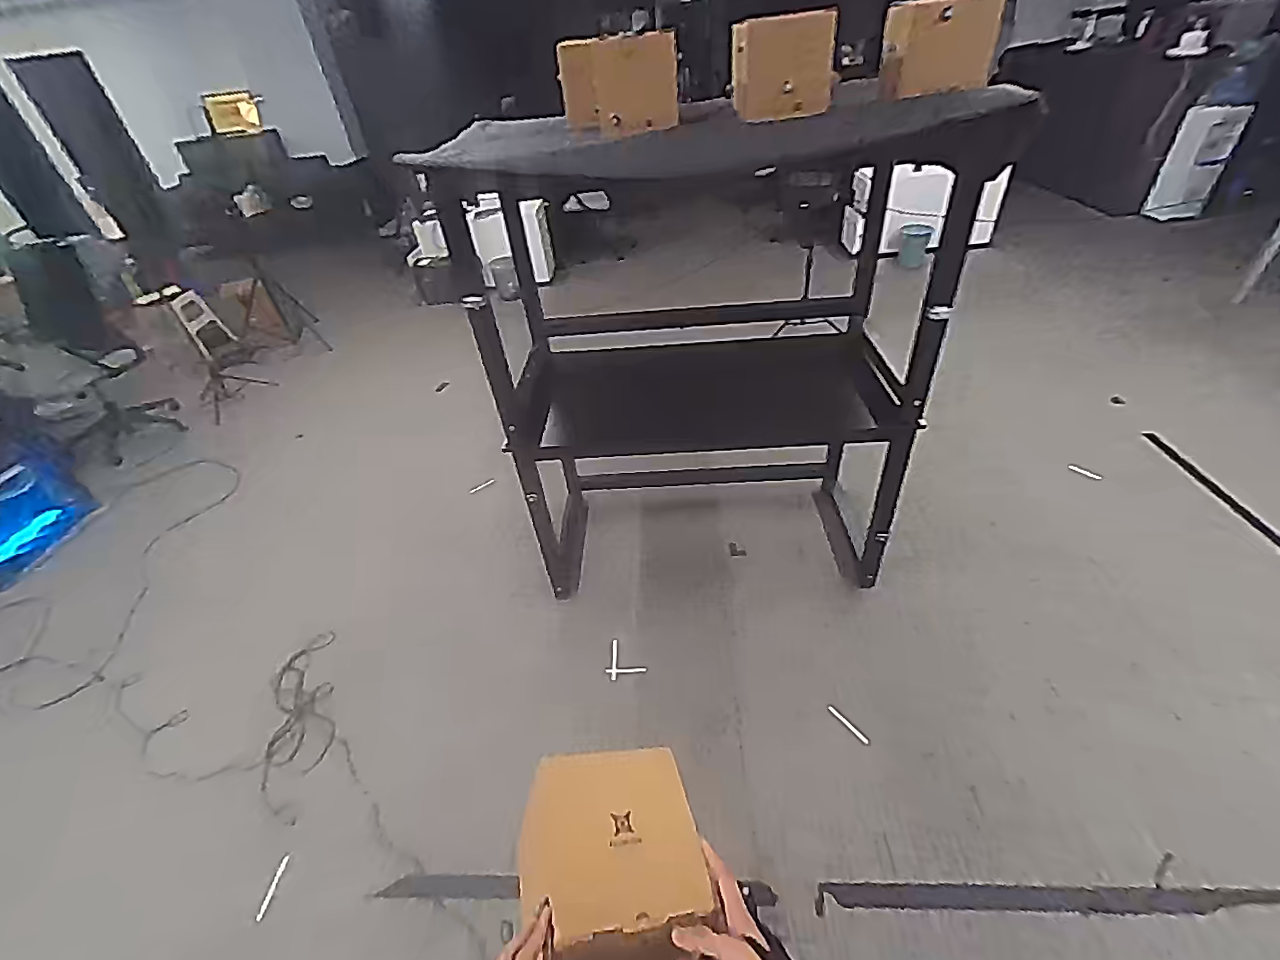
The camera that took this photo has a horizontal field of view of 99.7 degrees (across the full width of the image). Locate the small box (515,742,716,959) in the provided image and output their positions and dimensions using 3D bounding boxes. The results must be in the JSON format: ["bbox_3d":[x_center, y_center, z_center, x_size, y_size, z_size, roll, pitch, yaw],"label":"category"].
[{"bbox_3d":[-0.042,0.430,0.609,0.168,0.176,0.179,5,29,-21],"label":"small box"}]

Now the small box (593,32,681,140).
[{"bbox_3d":[0.002,-0.841,1.161,0.168,0.176,0.179,-2,38,6],"label":"small box"}]

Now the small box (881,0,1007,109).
[{"bbox_3d":[0.610,-0.875,1.112,0.168,0.176,0.179,-1,39,8],"label":"small box"}]

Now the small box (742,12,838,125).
[{"bbox_3d":[0.303,-0.853,1.129,0.168,0.176,0.179,-2,38,7],"label":"small box"}]

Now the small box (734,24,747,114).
[{"bbox_3d":[0.325,-1.011,1.322,0.179,0.176,0.168,-2,39,6],"label":"small box"}]
